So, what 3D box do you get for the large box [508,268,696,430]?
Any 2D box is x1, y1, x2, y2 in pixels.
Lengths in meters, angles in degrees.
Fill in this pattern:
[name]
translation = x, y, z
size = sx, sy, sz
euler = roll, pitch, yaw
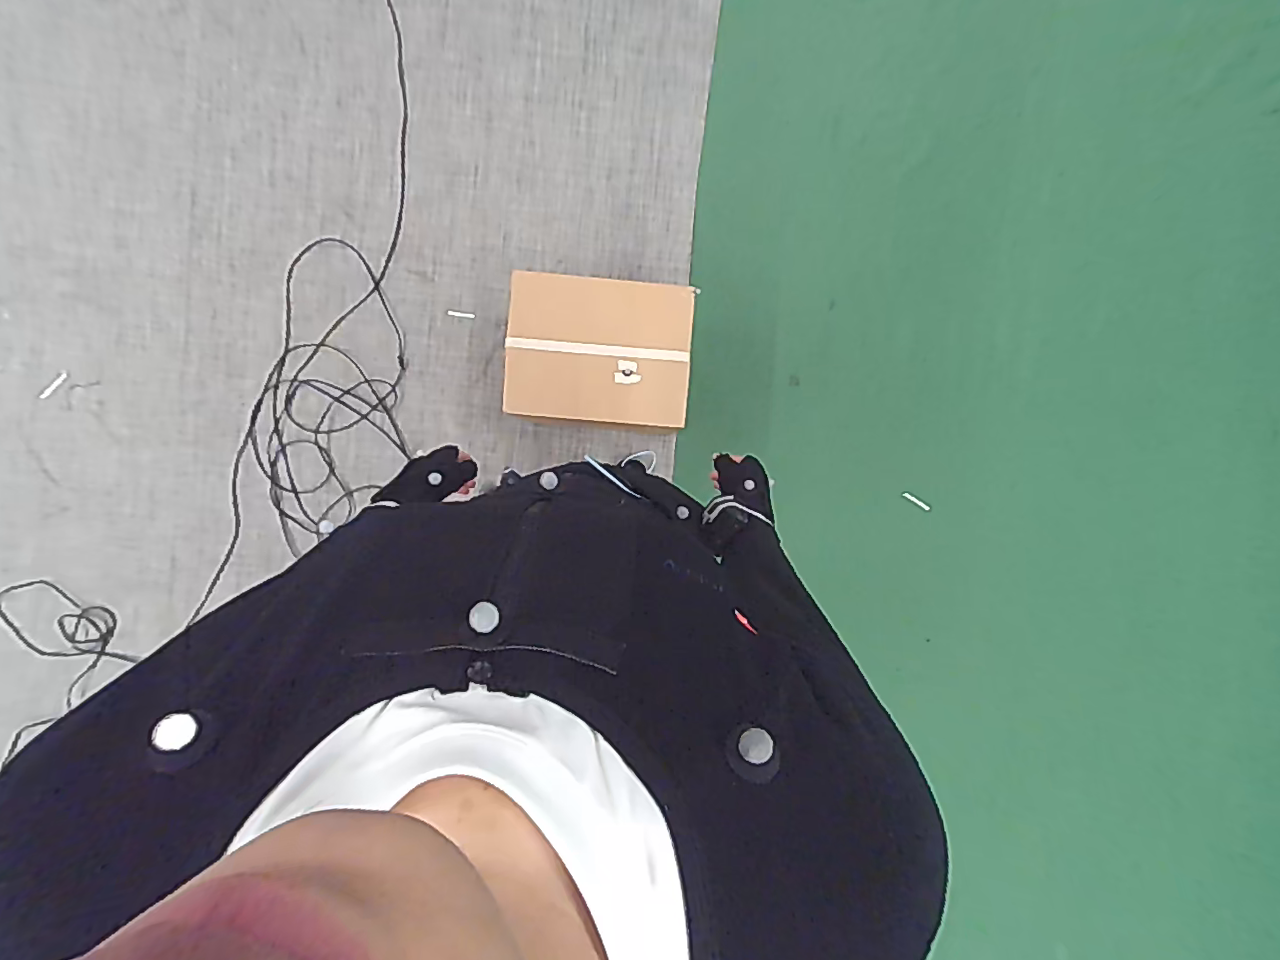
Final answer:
[large box]
translation = -0.091, -0.298, 1.331
size = 0.408, 0.320, 0.320
euler = 5, 92, -3
